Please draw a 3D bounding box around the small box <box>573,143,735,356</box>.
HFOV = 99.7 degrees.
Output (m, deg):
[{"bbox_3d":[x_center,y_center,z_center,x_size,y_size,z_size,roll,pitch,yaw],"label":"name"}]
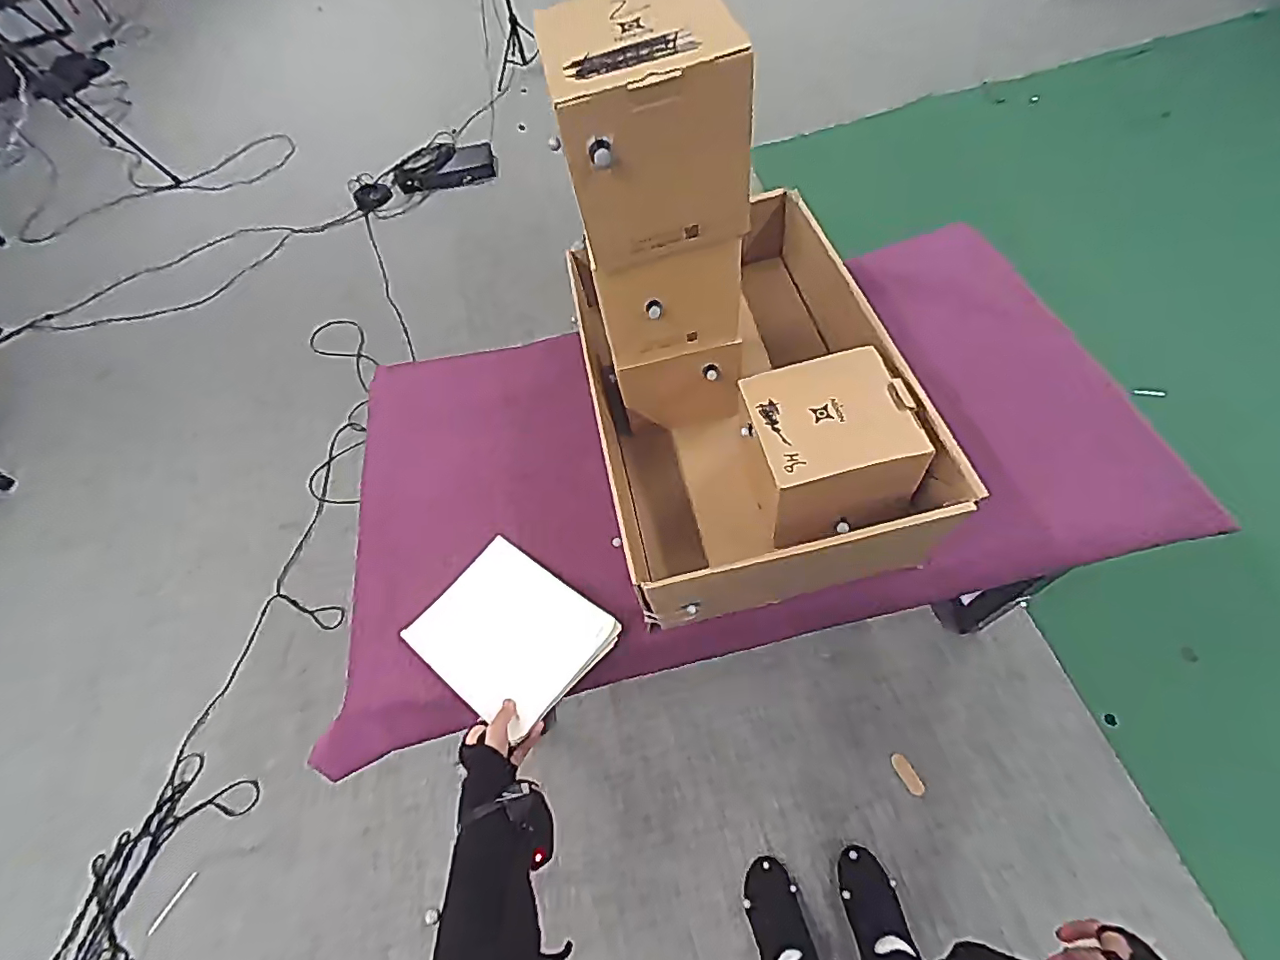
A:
[{"bbox_3d":[0.023,-0.279,0.685,0.168,0.176,0.179,-13,60,2],"label":"small box"}]
